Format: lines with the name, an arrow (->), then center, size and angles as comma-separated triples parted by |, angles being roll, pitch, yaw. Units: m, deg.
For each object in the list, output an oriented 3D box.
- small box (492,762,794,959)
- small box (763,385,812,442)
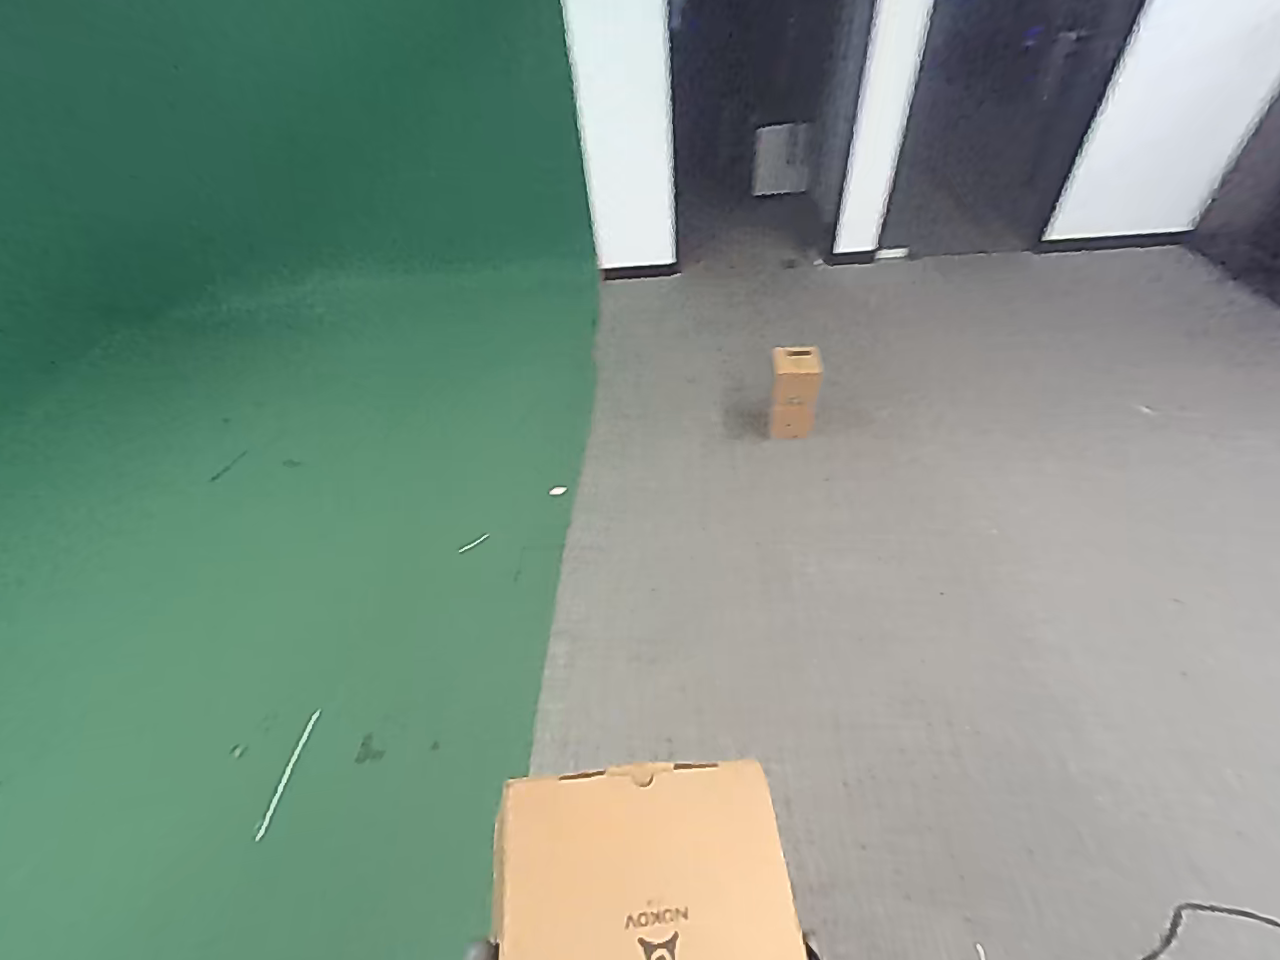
small box -> -0.011, 0.300, 0.352 | 0.168, 0.176, 0.179 | 3, 51, -13
small box -> 0.603, -0.271, 2.226 | 0.168, 0.176, 0.179 | -1, 46, 5
